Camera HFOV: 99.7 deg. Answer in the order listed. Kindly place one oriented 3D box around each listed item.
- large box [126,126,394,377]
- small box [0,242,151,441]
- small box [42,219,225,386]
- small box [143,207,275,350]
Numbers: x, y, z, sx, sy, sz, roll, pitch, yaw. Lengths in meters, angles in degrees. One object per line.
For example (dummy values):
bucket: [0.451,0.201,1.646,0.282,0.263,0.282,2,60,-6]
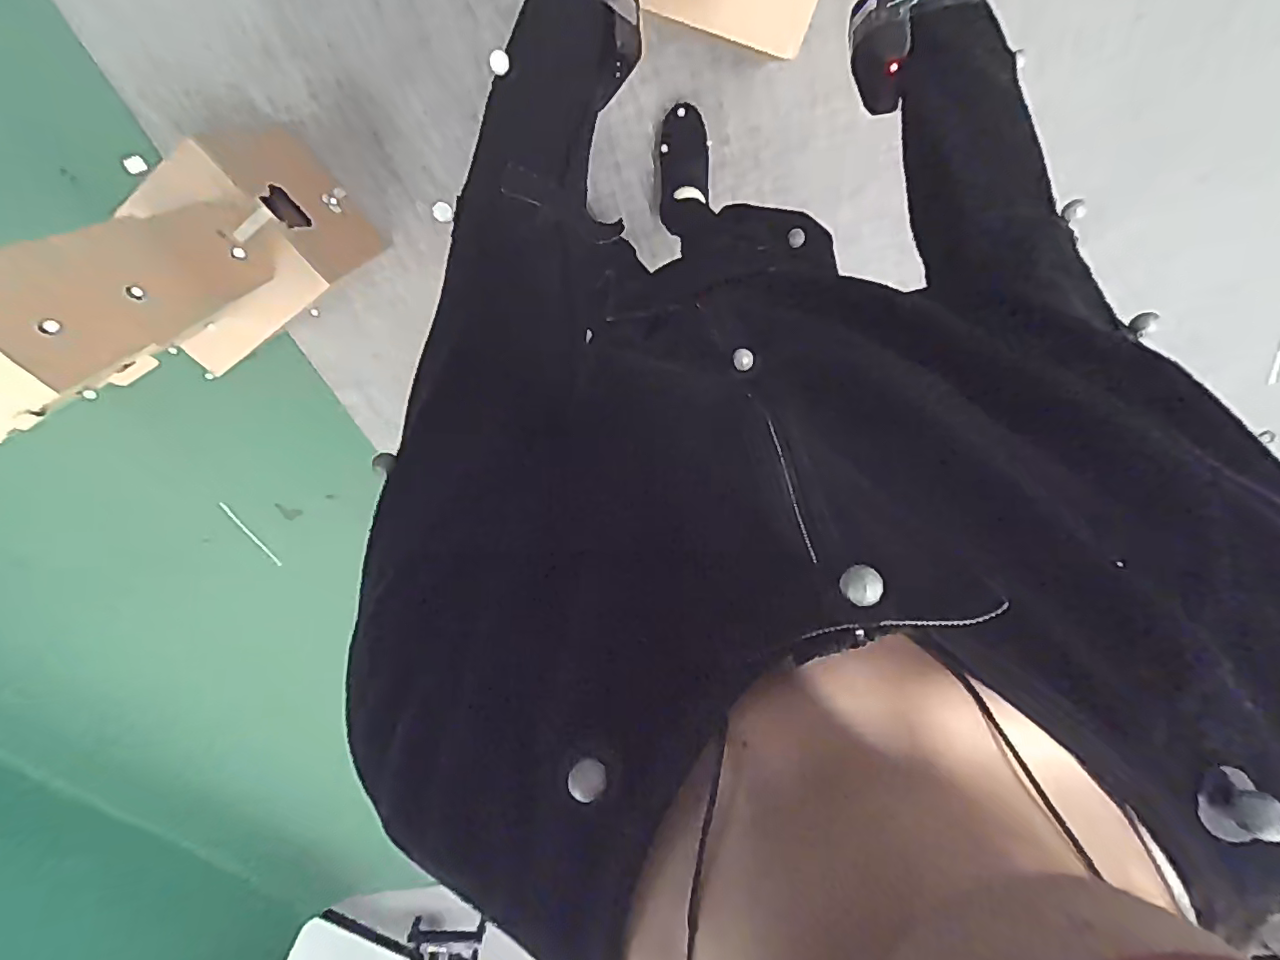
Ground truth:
large box: [-0.853,-0.511,1.217,0.408,0.320,0.320,-26,120,21]
small box: [-0.847,-0.191,0.741,0.168,0.176,0.179,-23,124,18]
small box: [-0.837,-0.289,0.873,0.168,0.176,0.179,-22,123,17]
small box: [-0.839,-0.379,1.010,0.179,0.176,0.168,-23,123,18]
